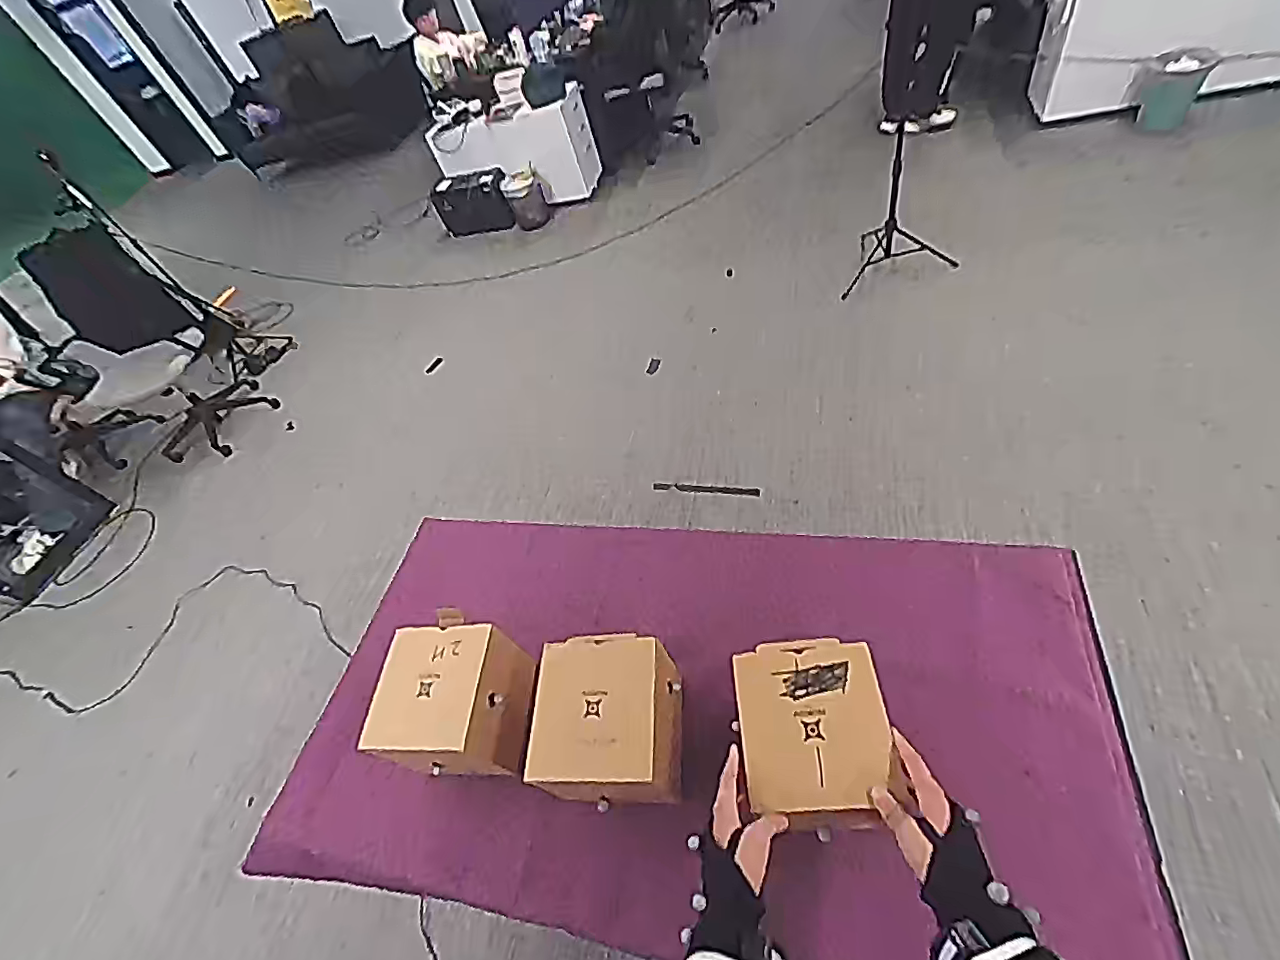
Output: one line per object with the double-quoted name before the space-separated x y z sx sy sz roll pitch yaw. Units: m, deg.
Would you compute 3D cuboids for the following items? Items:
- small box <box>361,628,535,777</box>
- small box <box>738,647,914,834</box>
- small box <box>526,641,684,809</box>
"small box" -0.277 0.344 0.829 0.168 0.176 0.179 -5 51 13
"small box" 0.219 0.329 0.676 0.168 0.176 0.179 -10 51 11
"small box" -0.036 0.342 0.753 0.168 0.176 0.179 -7 51 14
